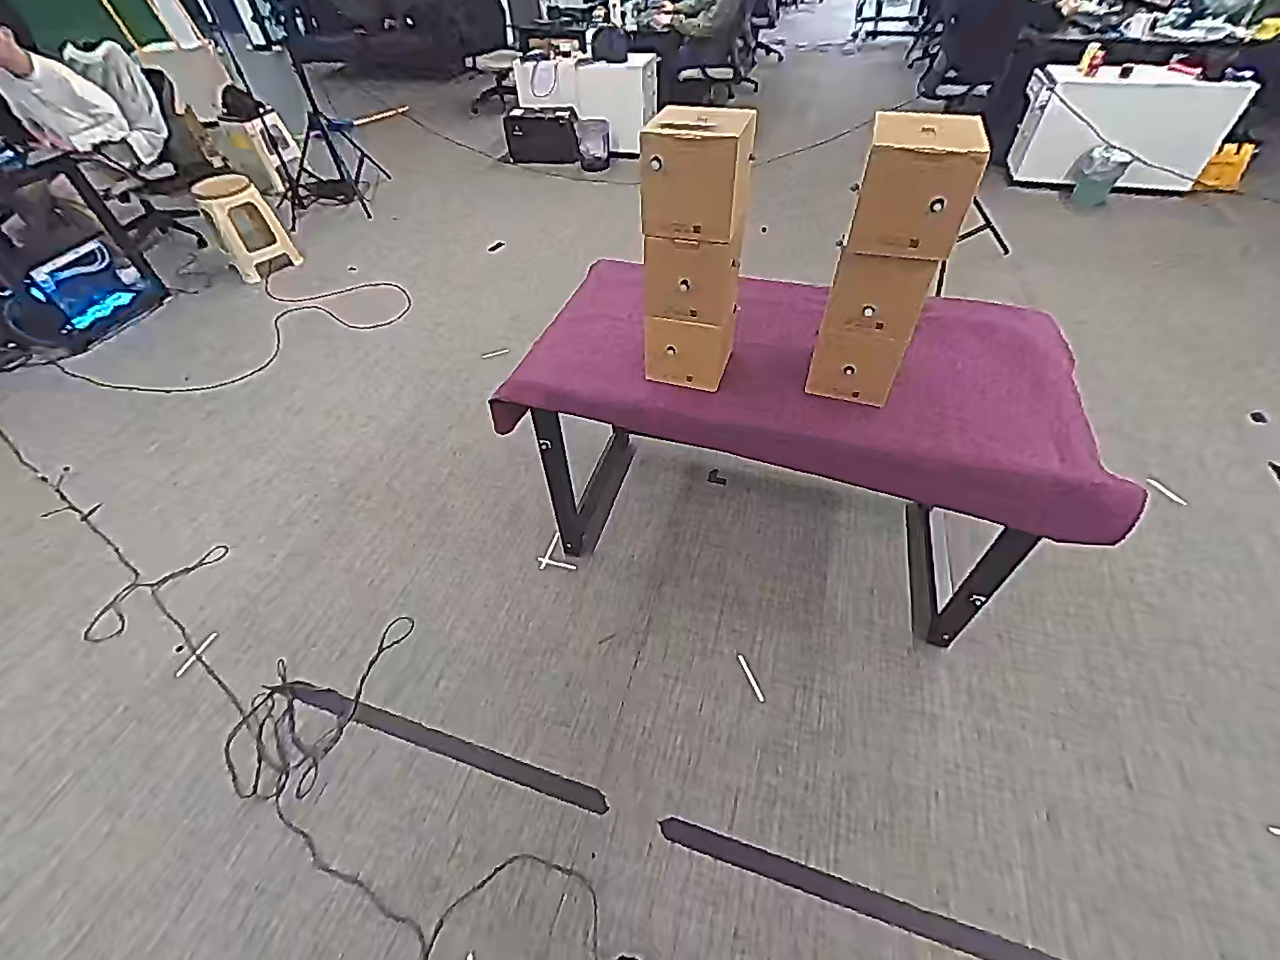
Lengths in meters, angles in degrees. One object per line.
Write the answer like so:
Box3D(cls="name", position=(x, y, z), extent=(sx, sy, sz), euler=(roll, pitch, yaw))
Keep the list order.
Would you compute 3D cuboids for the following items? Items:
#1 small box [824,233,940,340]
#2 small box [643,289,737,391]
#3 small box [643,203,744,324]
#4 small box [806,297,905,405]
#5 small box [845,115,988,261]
Box3D(cls="small box", position=(0.463, -0.398, 1.046), extent=(0.168, 0.176, 0.179), euler=(14, 51, 15))
Box3D(cls="small box", position=(0.114, -0.322, 1.214), extent=(0.168, 0.176, 0.179), euler=(13, 49, 13))
Box3D(cls="small box", position=(0.110, -0.437, 1.098), extent=(0.168, 0.176, 0.179), euler=(11, 49, 12))
Box3D(cls="small box", position=(0.464, -0.286, 1.166), extent=(0.168, 0.176, 0.179), euler=(15, 50, 14))
Box3D(cls="small box", position=(0.453, -0.490, 0.911), extent=(0.168, 0.176, 0.179), euler=(12, 49, 12))
